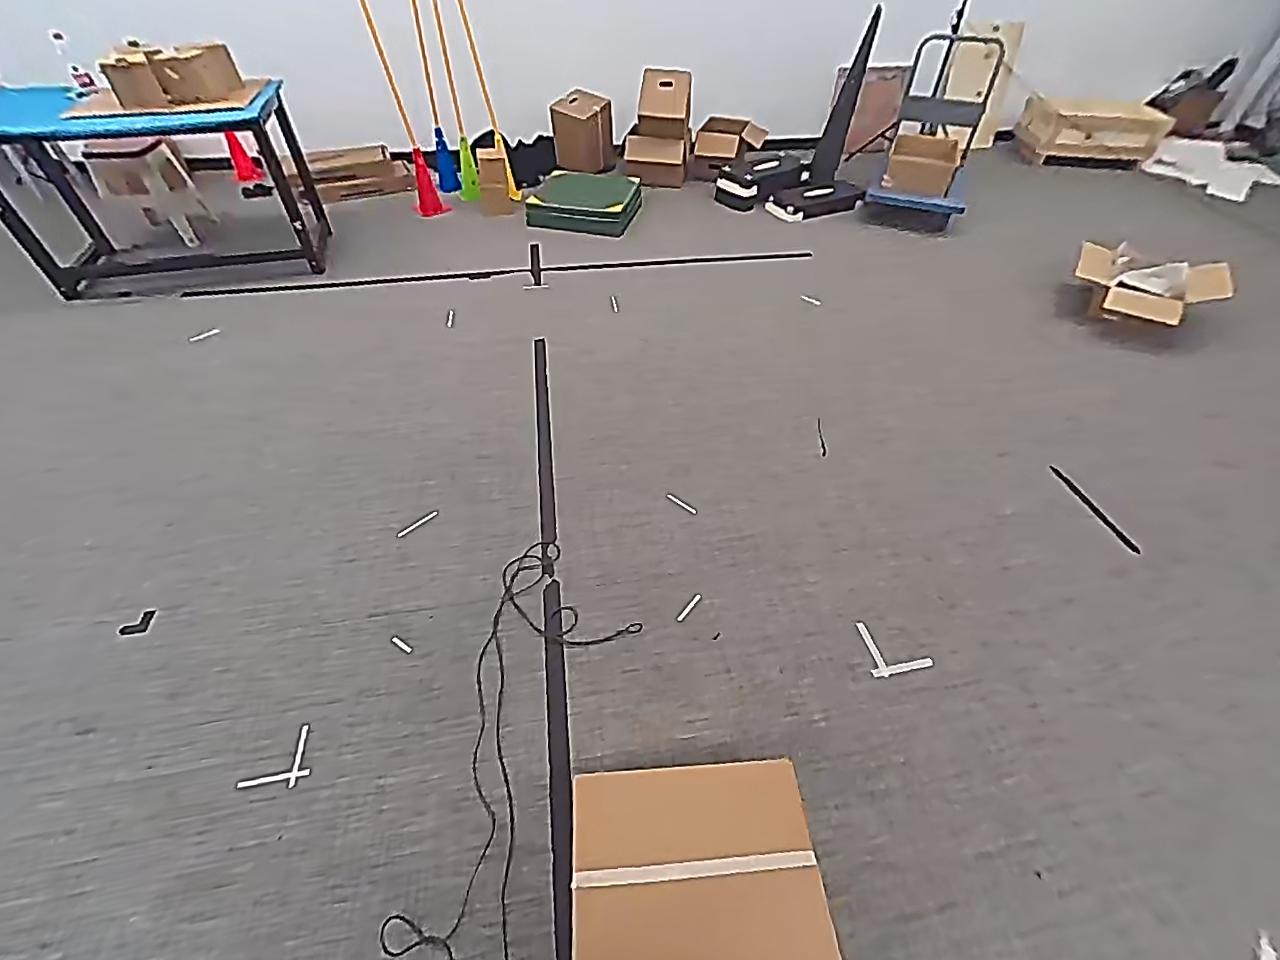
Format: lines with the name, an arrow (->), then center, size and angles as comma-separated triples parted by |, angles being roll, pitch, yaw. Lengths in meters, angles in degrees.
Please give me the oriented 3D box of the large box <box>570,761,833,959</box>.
large box -> 0.083, 0.747, 0.999 | 0.408, 0.320, 0.320 | -2, 46, -4
